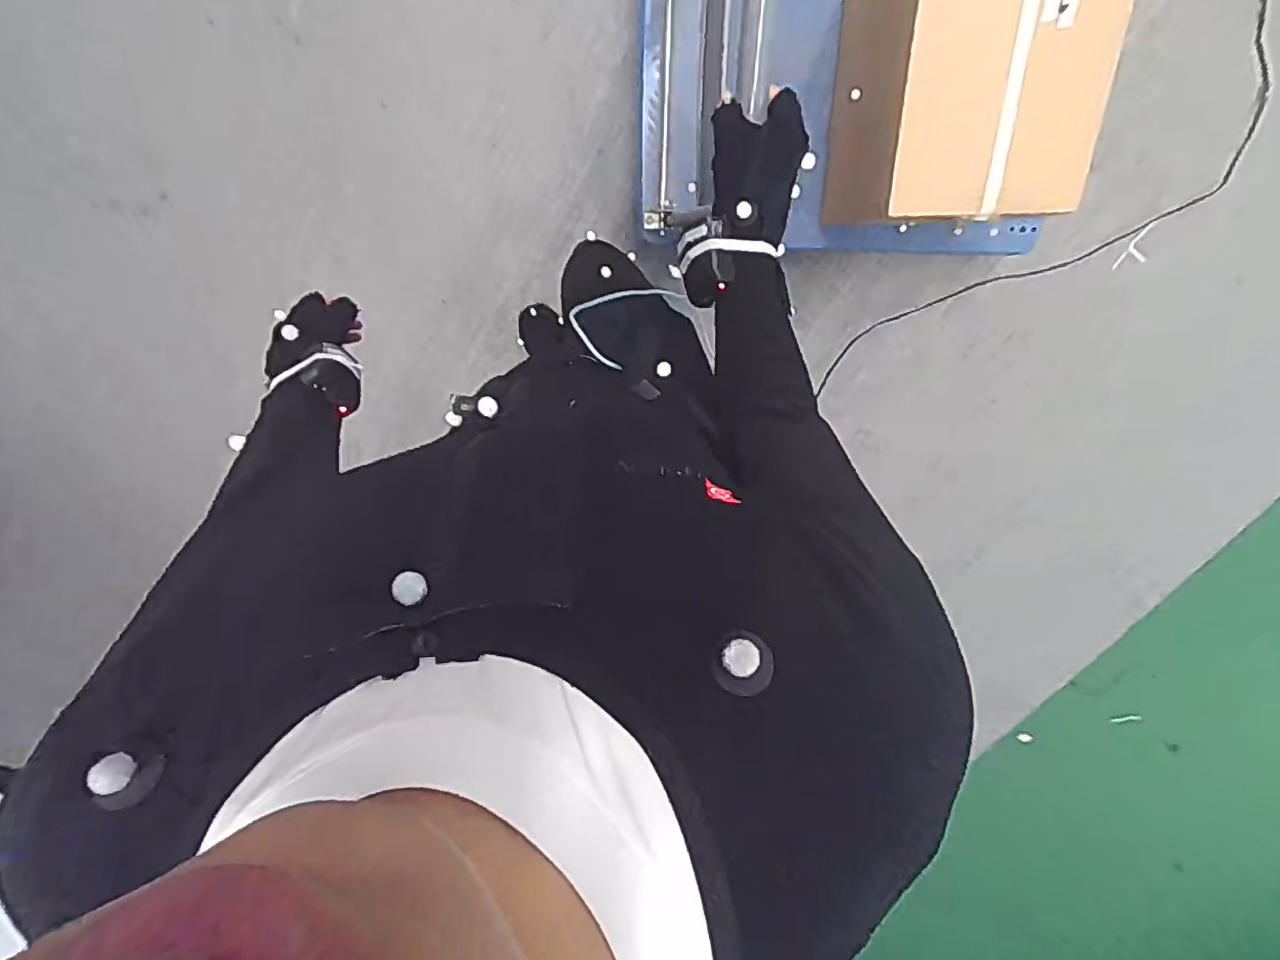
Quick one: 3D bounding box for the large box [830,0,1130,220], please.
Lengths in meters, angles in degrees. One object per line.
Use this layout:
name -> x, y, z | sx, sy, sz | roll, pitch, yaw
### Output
large box -> 0.543, -0.680, 0.926 | 0.320, 0.320, 0.408 | -2, 113, -2
